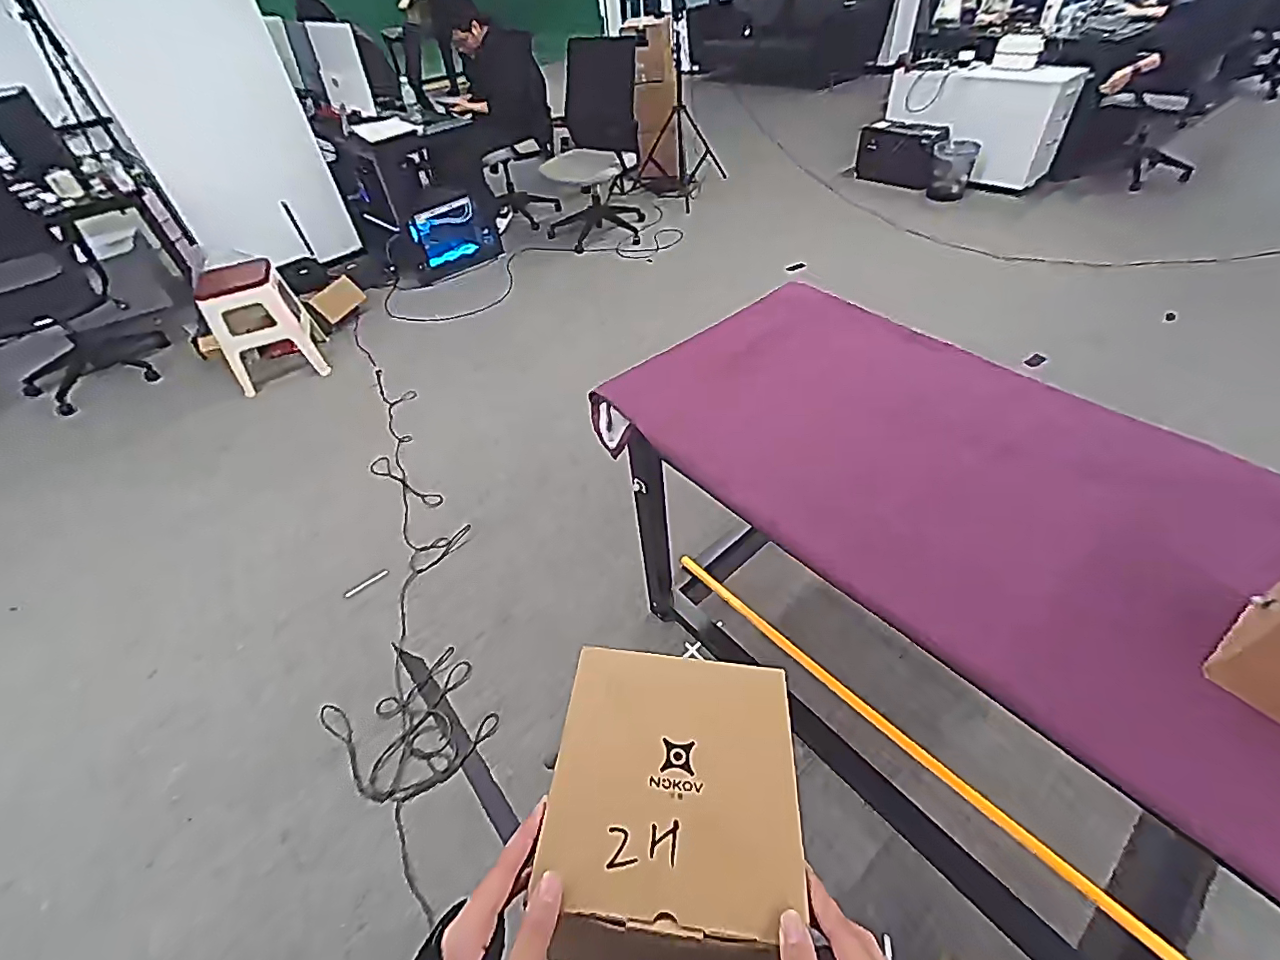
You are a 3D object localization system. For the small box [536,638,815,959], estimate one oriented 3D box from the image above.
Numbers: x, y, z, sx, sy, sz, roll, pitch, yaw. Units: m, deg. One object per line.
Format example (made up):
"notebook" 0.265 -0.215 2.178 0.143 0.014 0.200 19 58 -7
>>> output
"small box" 0.025 0.254 0.423 0.168 0.176 0.179 6 40 4

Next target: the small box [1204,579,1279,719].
"small box" 0.757 0.175 0.548 0.168 0.176 0.179 -29 48 -22
